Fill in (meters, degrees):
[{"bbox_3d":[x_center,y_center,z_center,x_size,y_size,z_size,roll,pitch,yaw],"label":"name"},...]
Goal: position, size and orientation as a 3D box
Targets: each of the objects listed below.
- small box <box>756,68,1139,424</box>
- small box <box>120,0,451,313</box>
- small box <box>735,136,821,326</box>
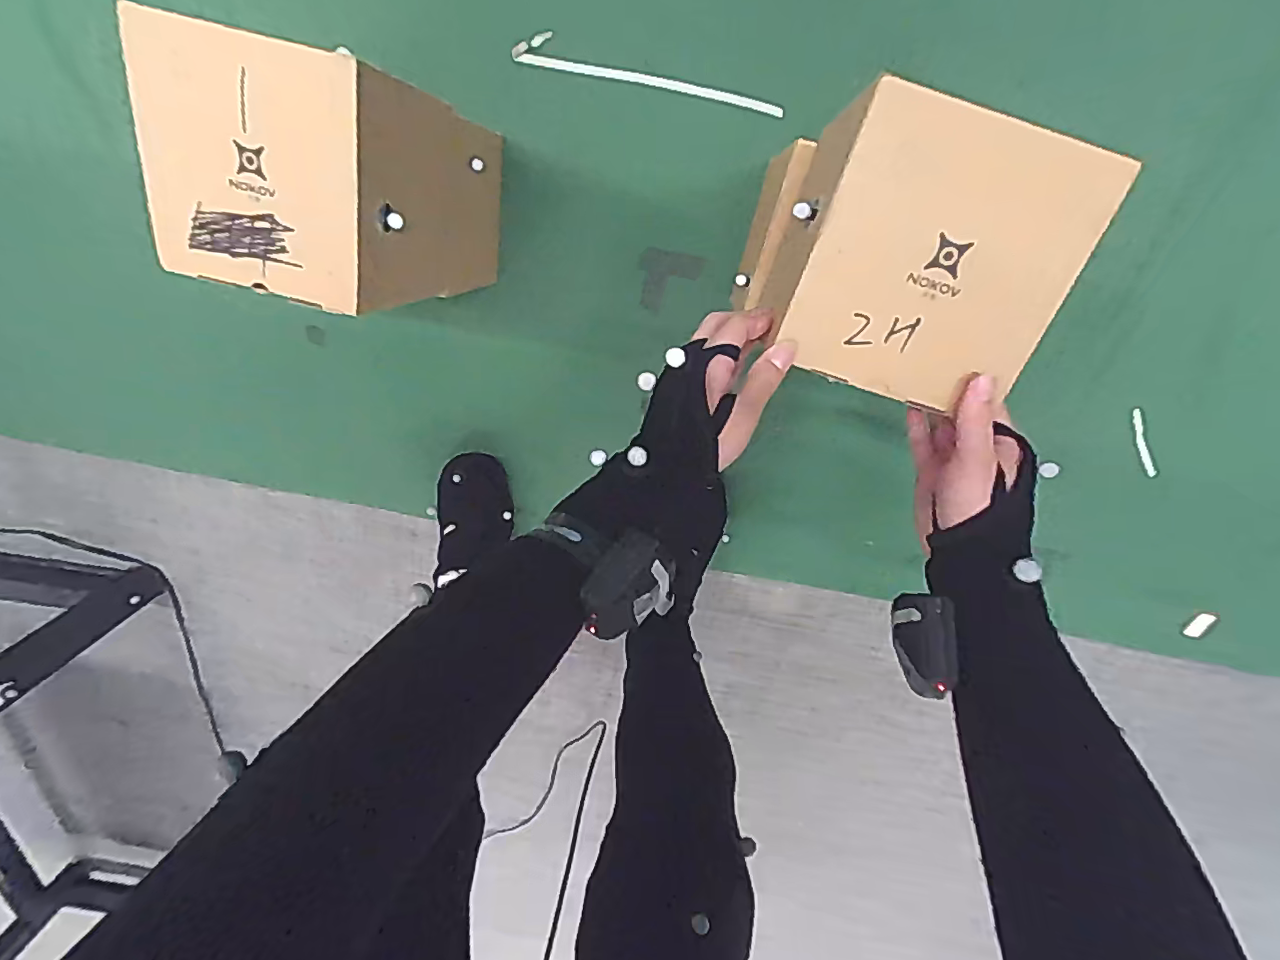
[{"bbox_3d":[0.201,-0.171,0.423,0.168,0.176,0.179,18,114,-3],"label":"small box"},{"bbox_3d":[-0.278,-0.263,0.468,0.168,0.176,0.179,14,116,-2],"label":"small box"},{"bbox_3d":[0.212,-0.260,0.609,0.168,0.176,0.179,14,118,-2],"label":"small box"}]
